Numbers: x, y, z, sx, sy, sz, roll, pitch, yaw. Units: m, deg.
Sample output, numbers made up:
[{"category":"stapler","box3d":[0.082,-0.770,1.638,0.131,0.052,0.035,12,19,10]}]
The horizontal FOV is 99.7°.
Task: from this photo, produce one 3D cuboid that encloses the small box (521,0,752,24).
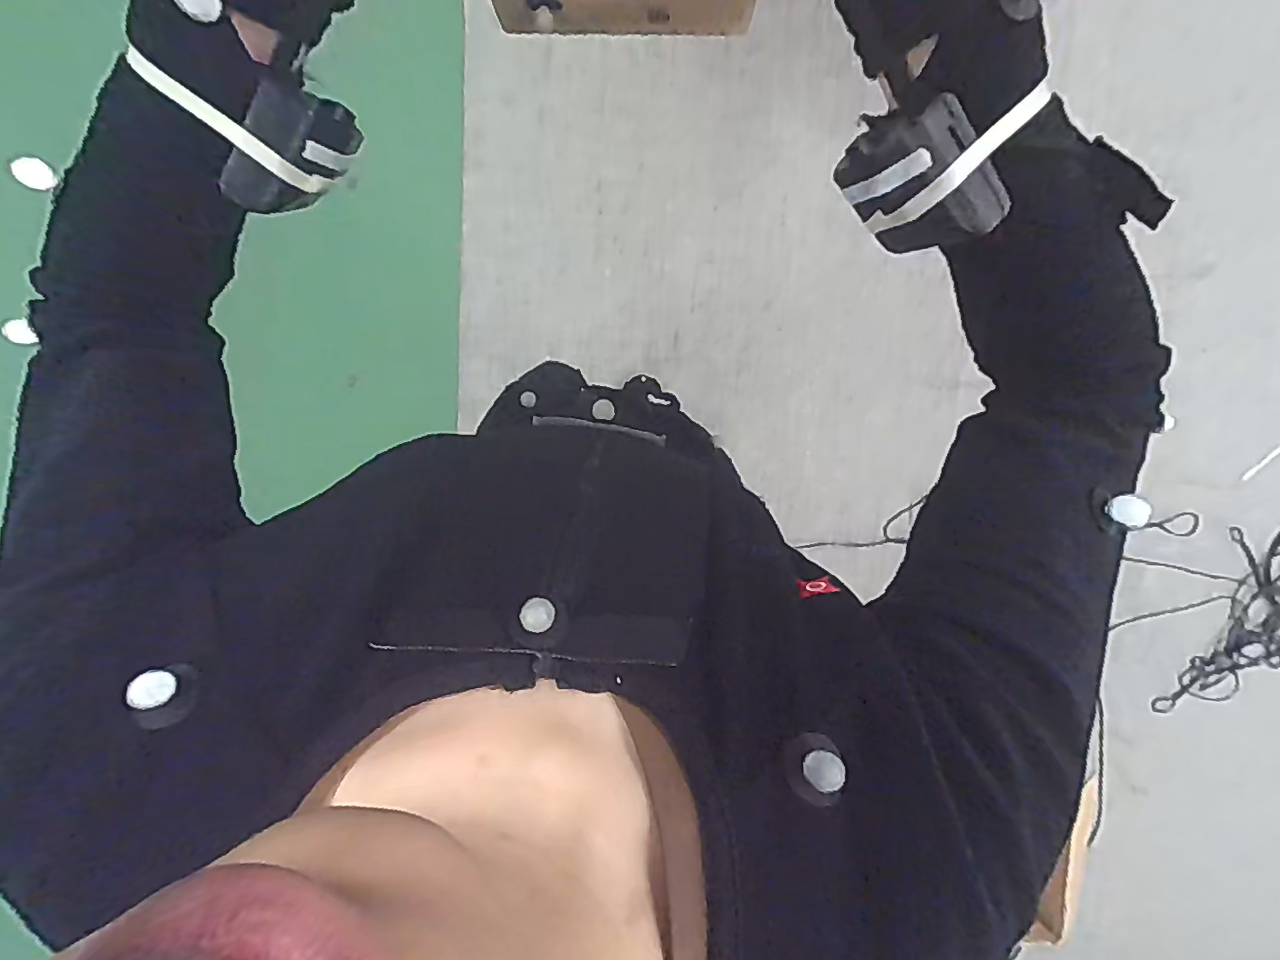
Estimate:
[{"category":"small box","box3d":[-0.008,-0.365,0.258,0.168,0.176,0.179,1,98,0]}]
